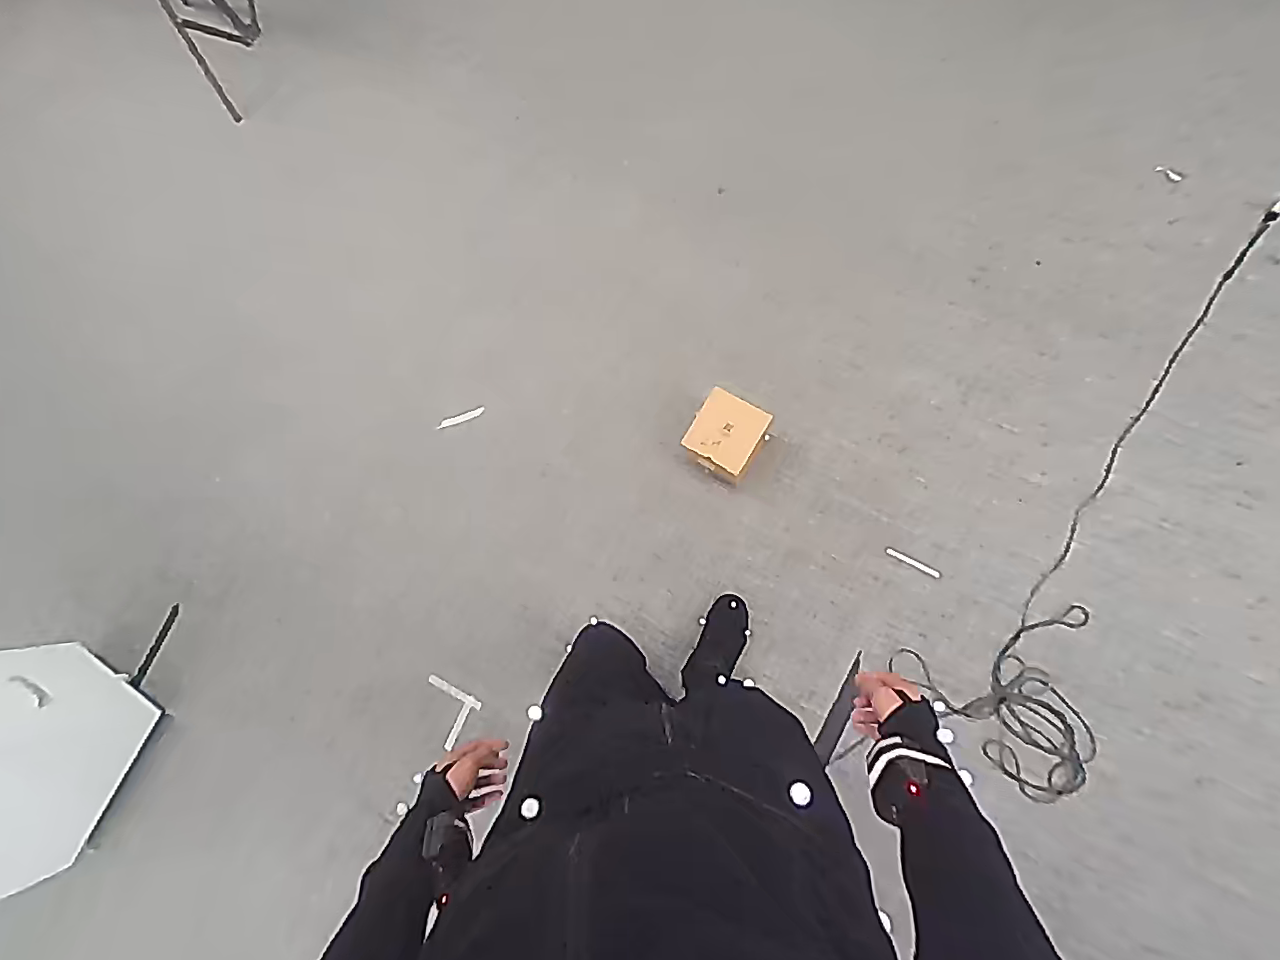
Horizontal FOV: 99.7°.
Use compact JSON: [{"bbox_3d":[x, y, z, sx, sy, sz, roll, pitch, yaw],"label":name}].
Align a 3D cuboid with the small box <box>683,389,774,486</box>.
[{"bbox_3d":[0.228,-0.105,1.415,0.168,0.176,0.179,31,87,13],"label":"small box"}]
